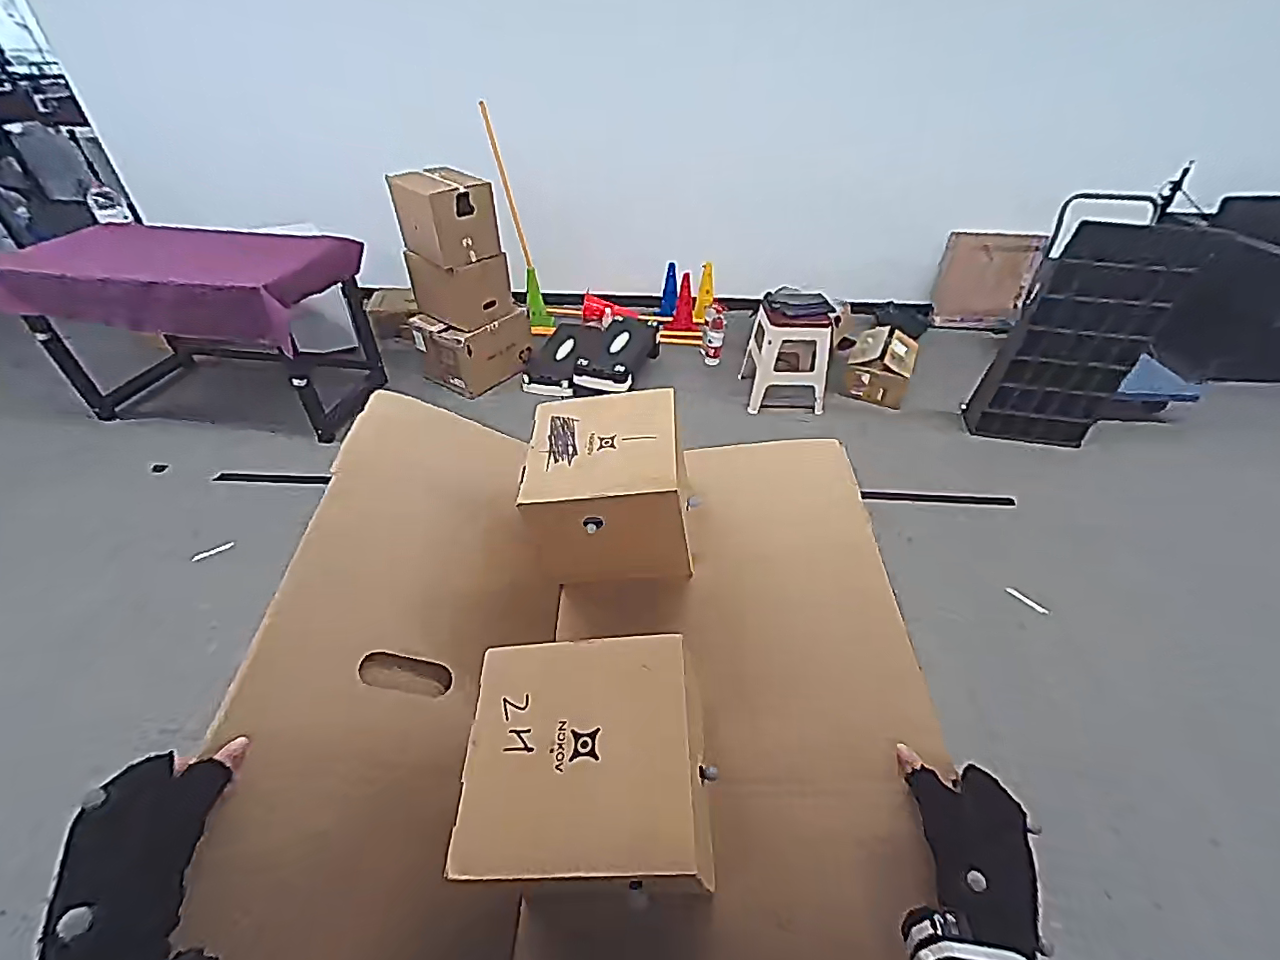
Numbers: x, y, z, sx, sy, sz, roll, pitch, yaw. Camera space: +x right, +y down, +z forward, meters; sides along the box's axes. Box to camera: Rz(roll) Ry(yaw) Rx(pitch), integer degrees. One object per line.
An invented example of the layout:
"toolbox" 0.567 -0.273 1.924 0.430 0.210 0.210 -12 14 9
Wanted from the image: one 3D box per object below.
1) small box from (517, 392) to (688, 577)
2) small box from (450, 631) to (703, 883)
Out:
"small box" -0.035 0.012 0.693 0.179 0.176 0.168 -5 49 7
"small box" -0.037 0.251 0.485 0.179 0.176 0.168 -7 48 8
